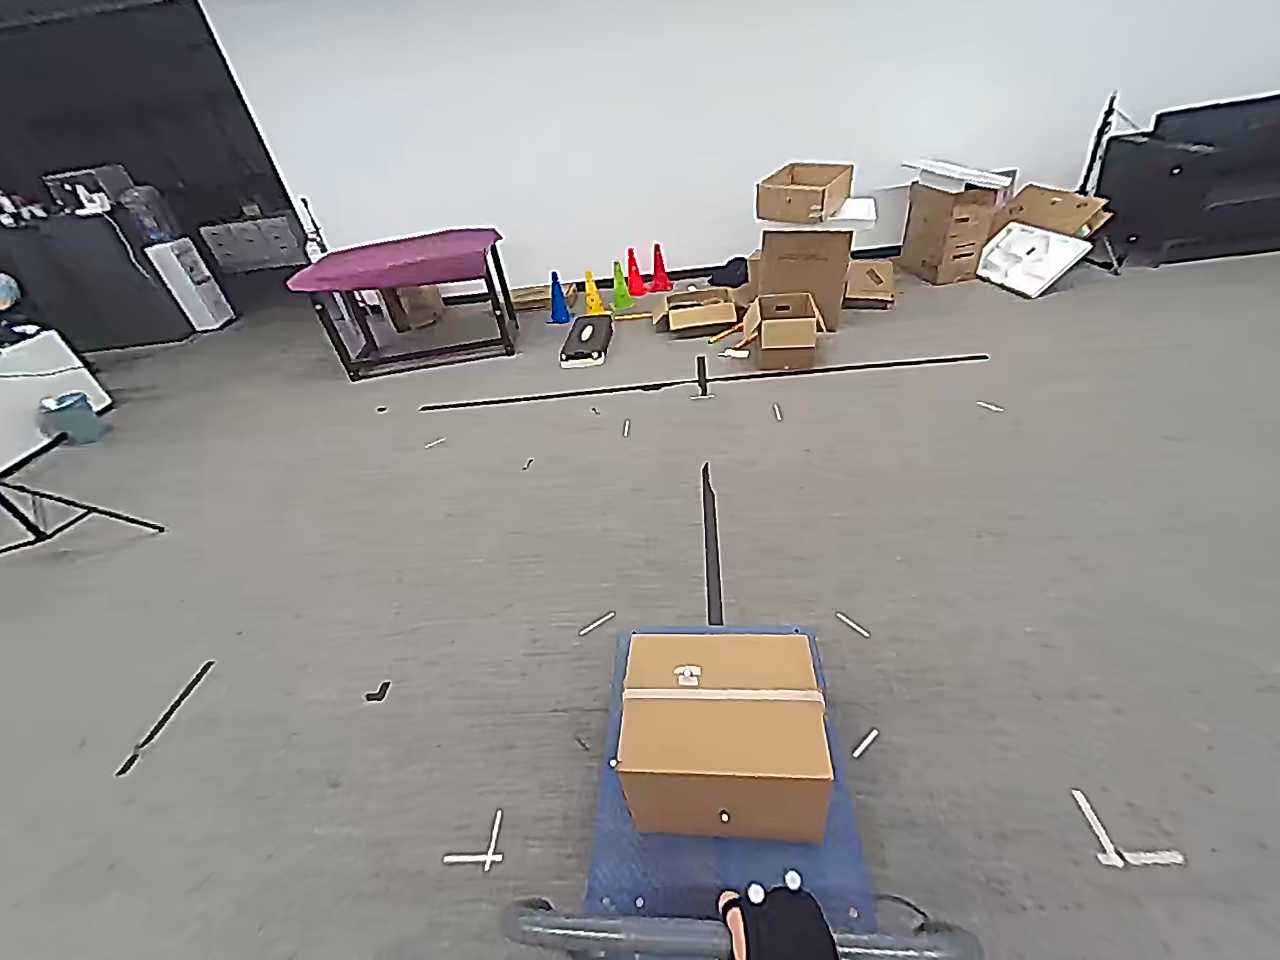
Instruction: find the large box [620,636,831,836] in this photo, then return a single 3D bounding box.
[{"bbox_3d":[0.188,0.580,1.227,0.408,0.320,0.320,-4,37,8],"label":"large box"}]
